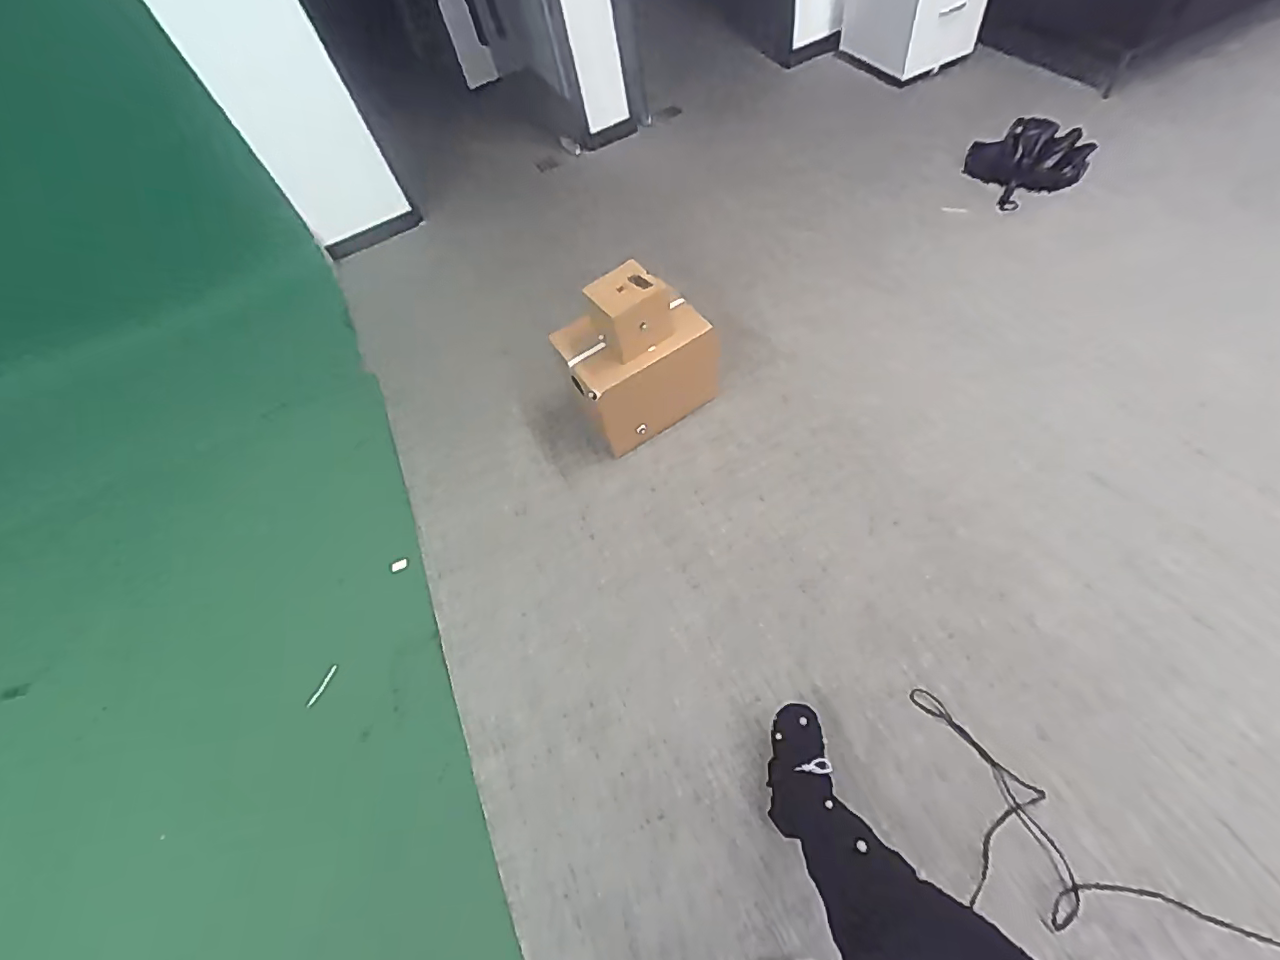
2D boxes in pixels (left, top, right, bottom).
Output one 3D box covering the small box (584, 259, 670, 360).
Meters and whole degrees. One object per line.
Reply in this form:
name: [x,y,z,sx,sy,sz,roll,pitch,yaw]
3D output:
small box: [-0.028,-0.470,1.500,0.179,0.176,0.168,-36,59,-13]
